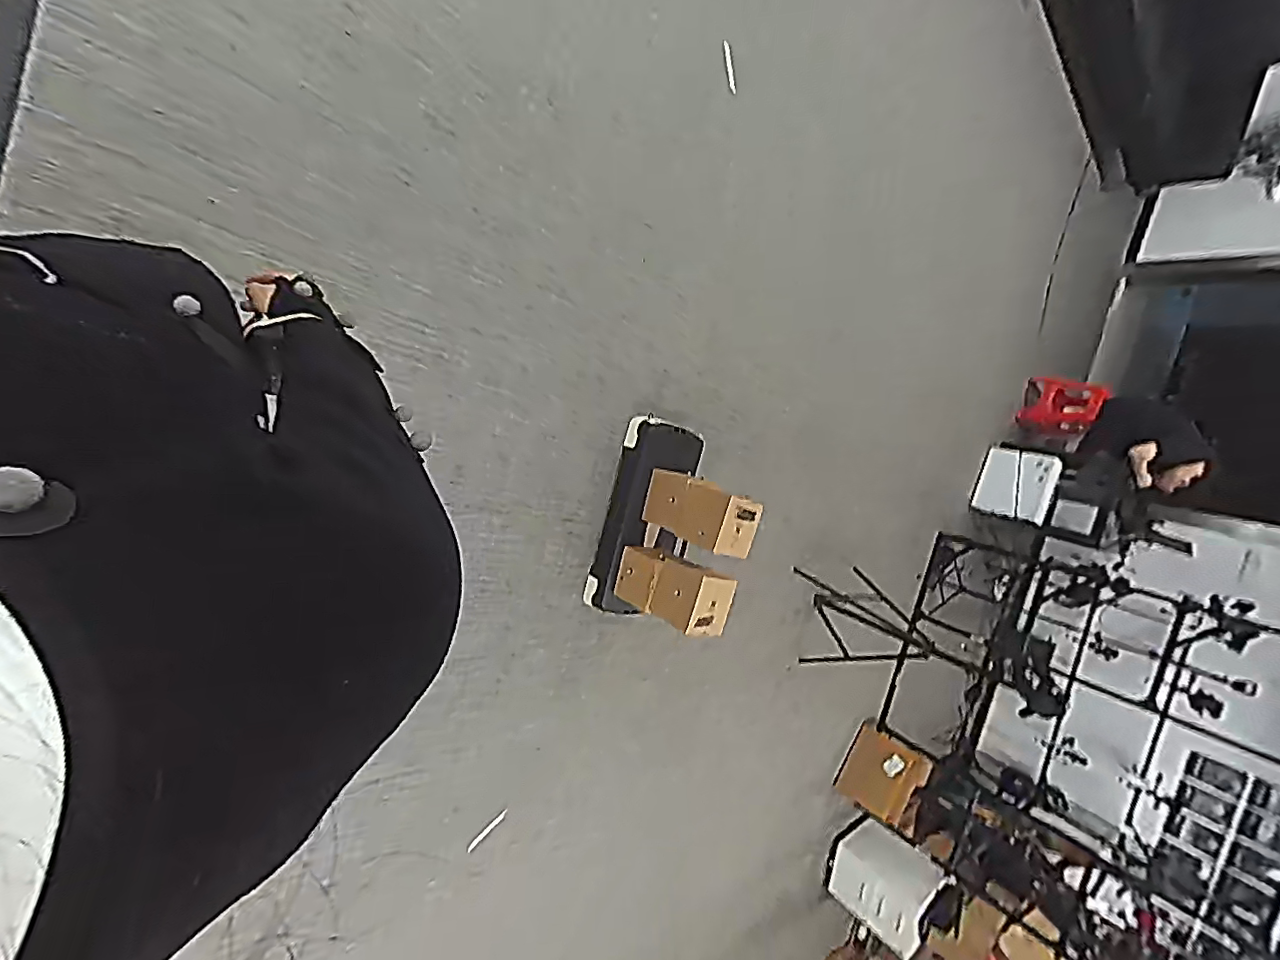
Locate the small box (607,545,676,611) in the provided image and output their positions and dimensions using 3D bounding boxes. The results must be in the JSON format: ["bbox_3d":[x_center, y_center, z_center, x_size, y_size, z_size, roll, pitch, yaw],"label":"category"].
[{"bbox_3d":[0.022,0.318,1.775,0.179,0.176,0.168,9,97,-42],"label":"small box"}]

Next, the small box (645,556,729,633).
[{"bbox_3d":[0.138,0.352,1.662,0.168,0.176,0.179,16,92,-42],"label":"small box"}]
